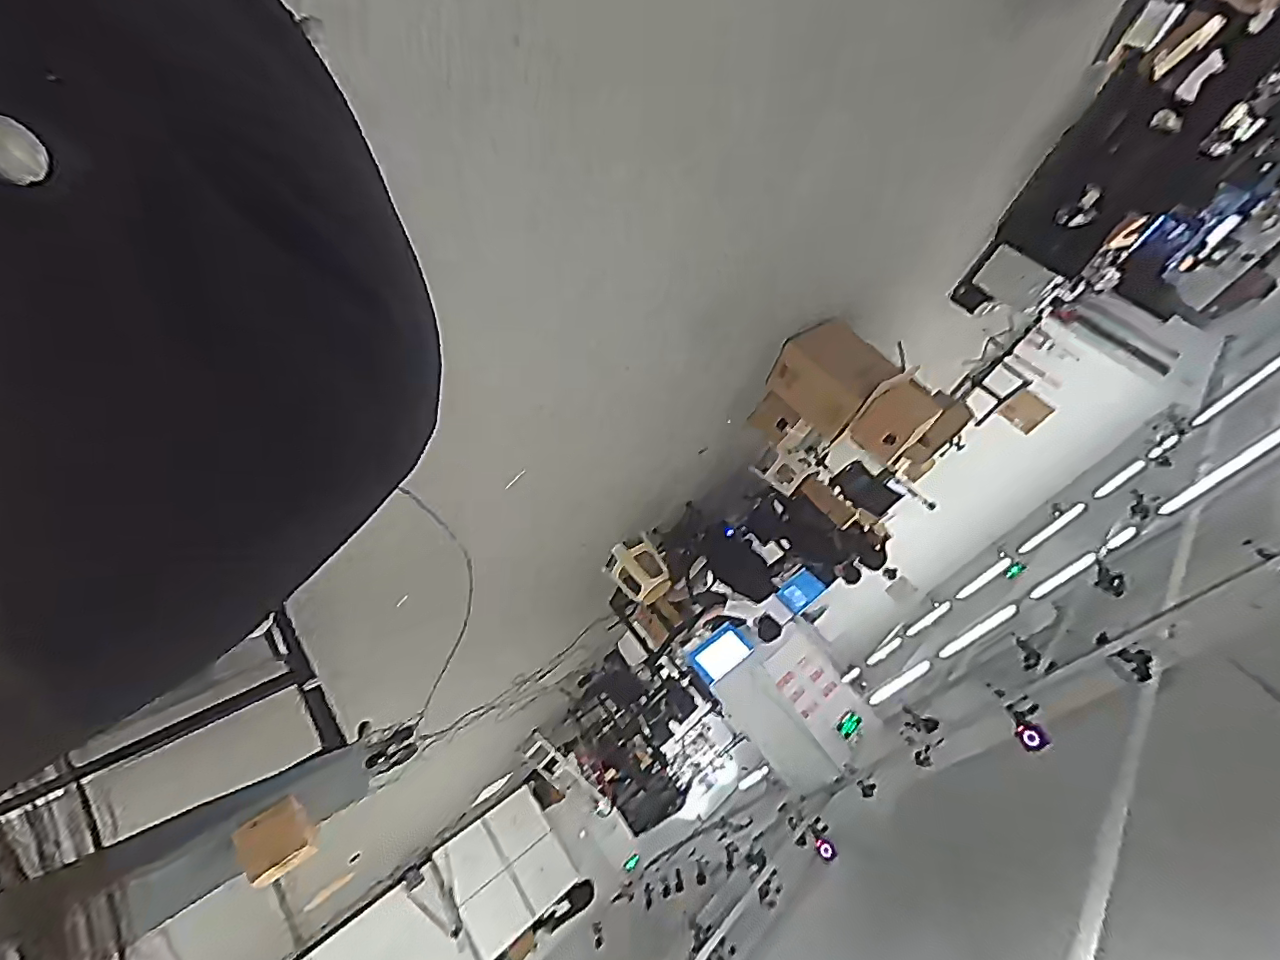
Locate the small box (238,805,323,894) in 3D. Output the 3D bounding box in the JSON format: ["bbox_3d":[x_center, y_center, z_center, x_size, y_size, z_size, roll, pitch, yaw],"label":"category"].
[{"bbox_3d":[-1.153,1.180,1.735,0.168,0.176,0.179,-25,154,-34],"label":"small box"}]
